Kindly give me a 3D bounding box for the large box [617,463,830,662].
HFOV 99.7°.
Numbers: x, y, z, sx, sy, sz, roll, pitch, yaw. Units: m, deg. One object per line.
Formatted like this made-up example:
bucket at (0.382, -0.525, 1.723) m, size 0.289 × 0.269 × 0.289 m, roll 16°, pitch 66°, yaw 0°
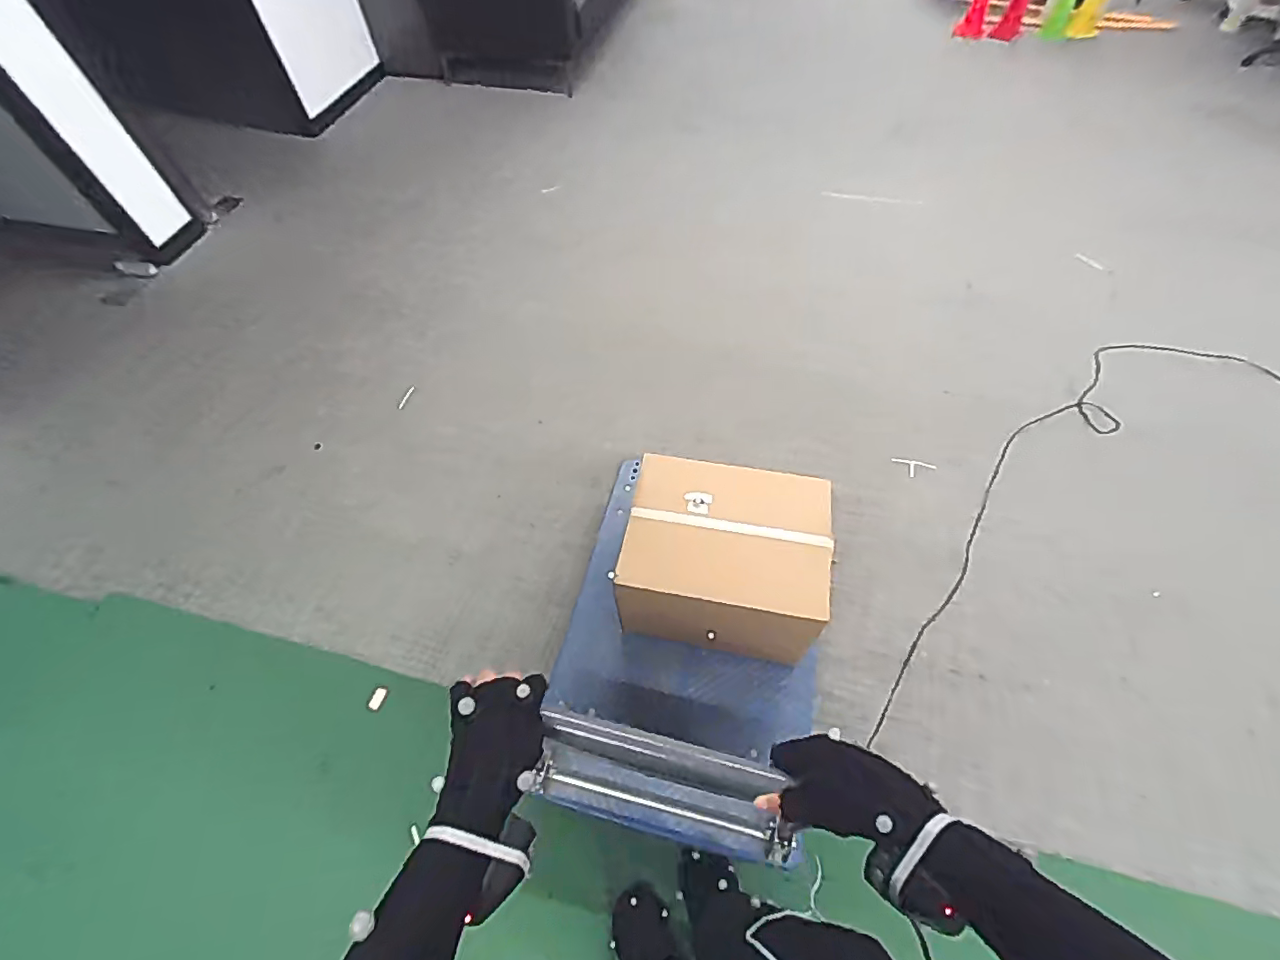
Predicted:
large box at (0.186, 0.191, 1.212) m, size 0.408 × 0.320 × 0.320 m, roll 7°, pitch 57°, yaw 9°
